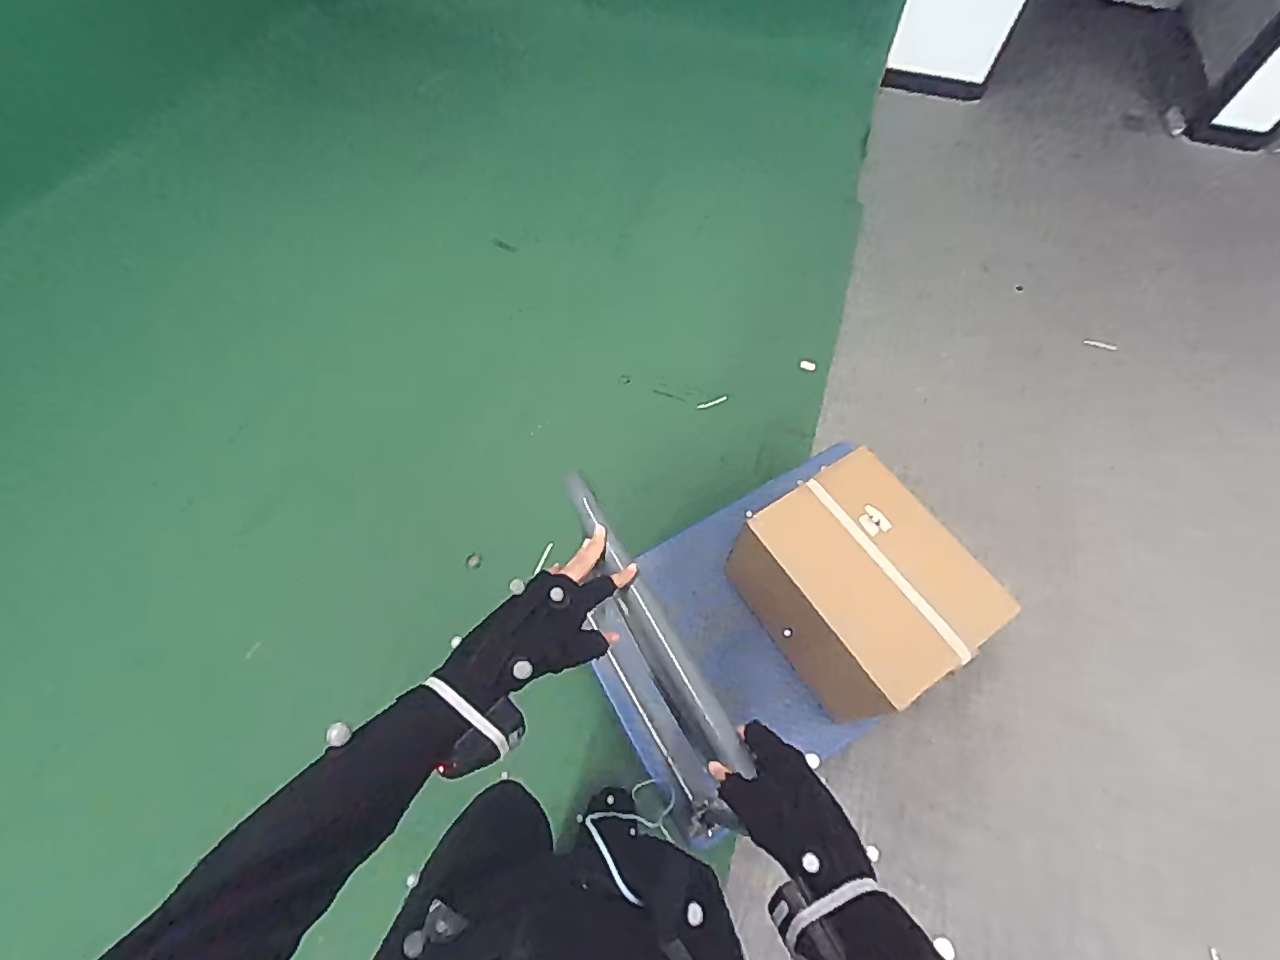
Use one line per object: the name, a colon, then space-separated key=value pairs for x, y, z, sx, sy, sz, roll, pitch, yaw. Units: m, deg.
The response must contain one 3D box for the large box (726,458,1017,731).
large box: x=0.431 y=0.240 z=1.117 sx=0.320 sy=0.320 sz=0.408 roll=-29 pitch=64 yaw=-16
